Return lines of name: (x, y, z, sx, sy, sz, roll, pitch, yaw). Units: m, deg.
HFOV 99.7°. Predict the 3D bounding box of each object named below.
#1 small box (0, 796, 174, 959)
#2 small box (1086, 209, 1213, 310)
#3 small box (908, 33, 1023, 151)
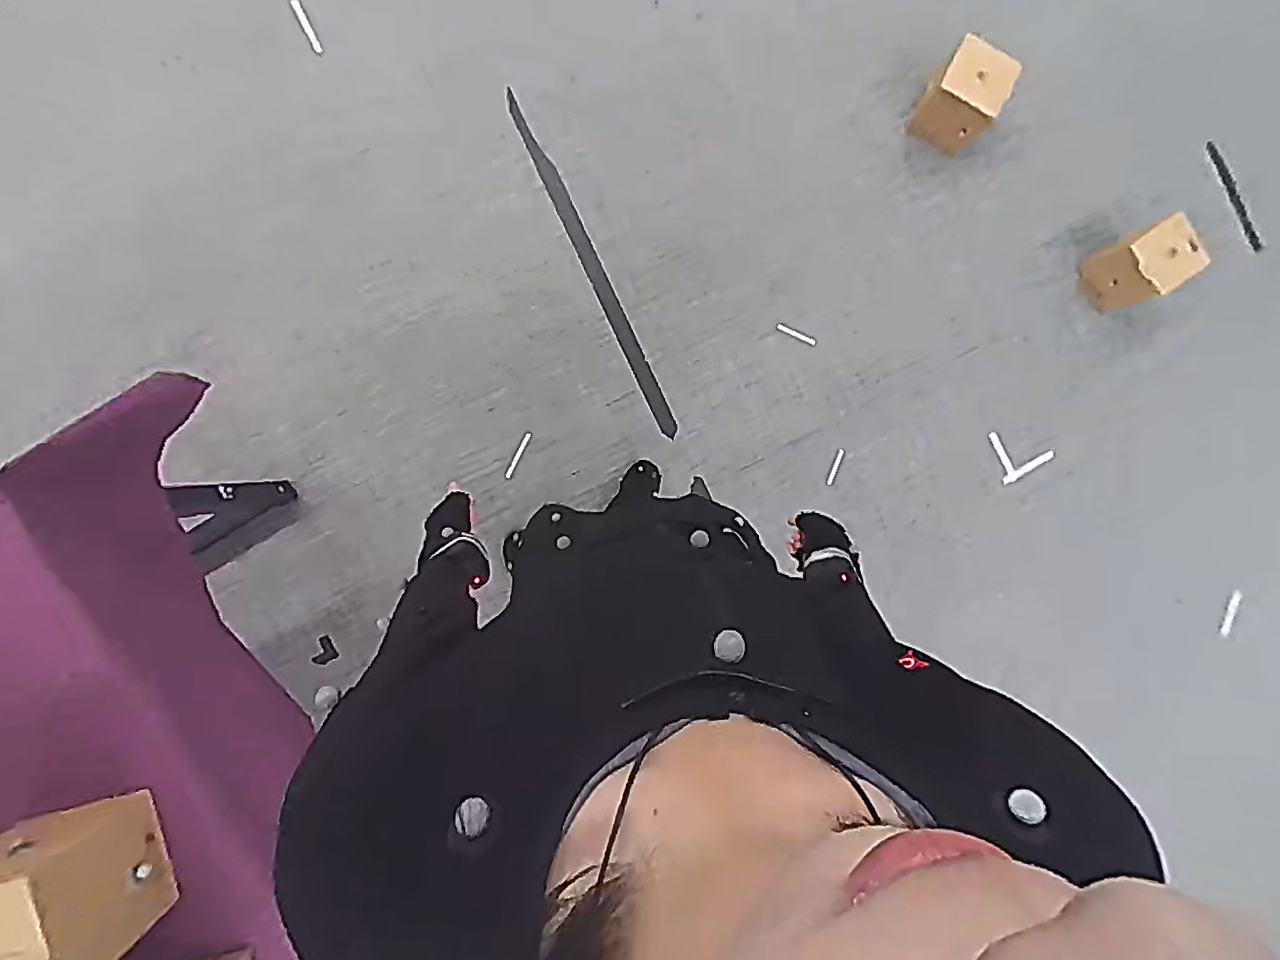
small box: (-0.743, 0.532, 0.667, 0.179, 0.176, 0.168, -14, 92, -4)
small box: (1.405, -0.605, 1.511, 0.179, 0.176, 0.168, -34, 93, -1)
small box: (0.879, -1.044, 1.474, 0.179, 0.176, 0.168, 27, 88, -3)
